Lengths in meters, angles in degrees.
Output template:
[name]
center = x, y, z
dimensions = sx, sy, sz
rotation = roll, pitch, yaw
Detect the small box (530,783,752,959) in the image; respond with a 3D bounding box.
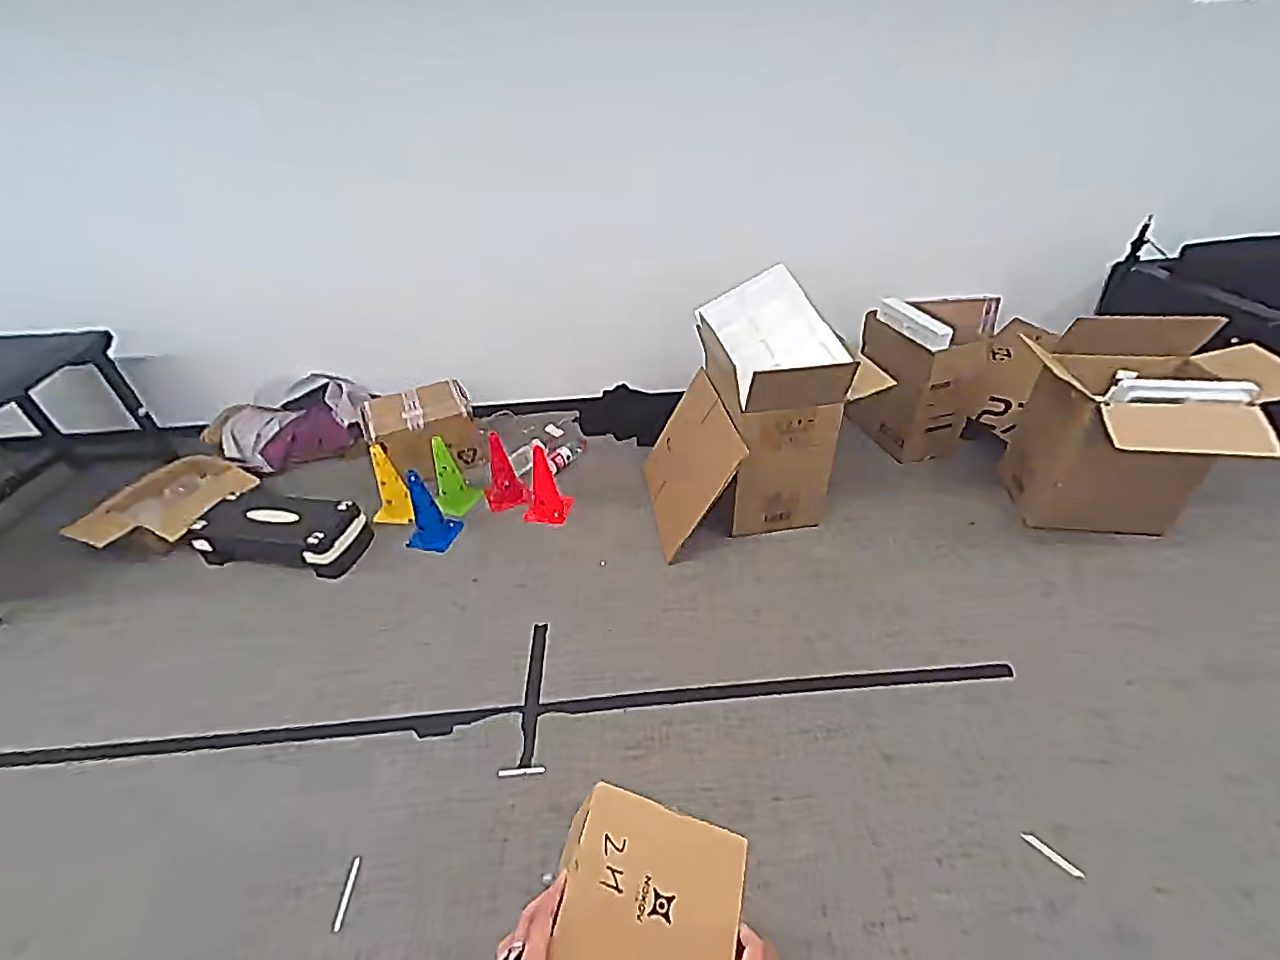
[small box]
center = -0.003, 0.455, 0.569
dimensions = 0.179, 0.176, 0.168
rotation = 20, 44, 3
